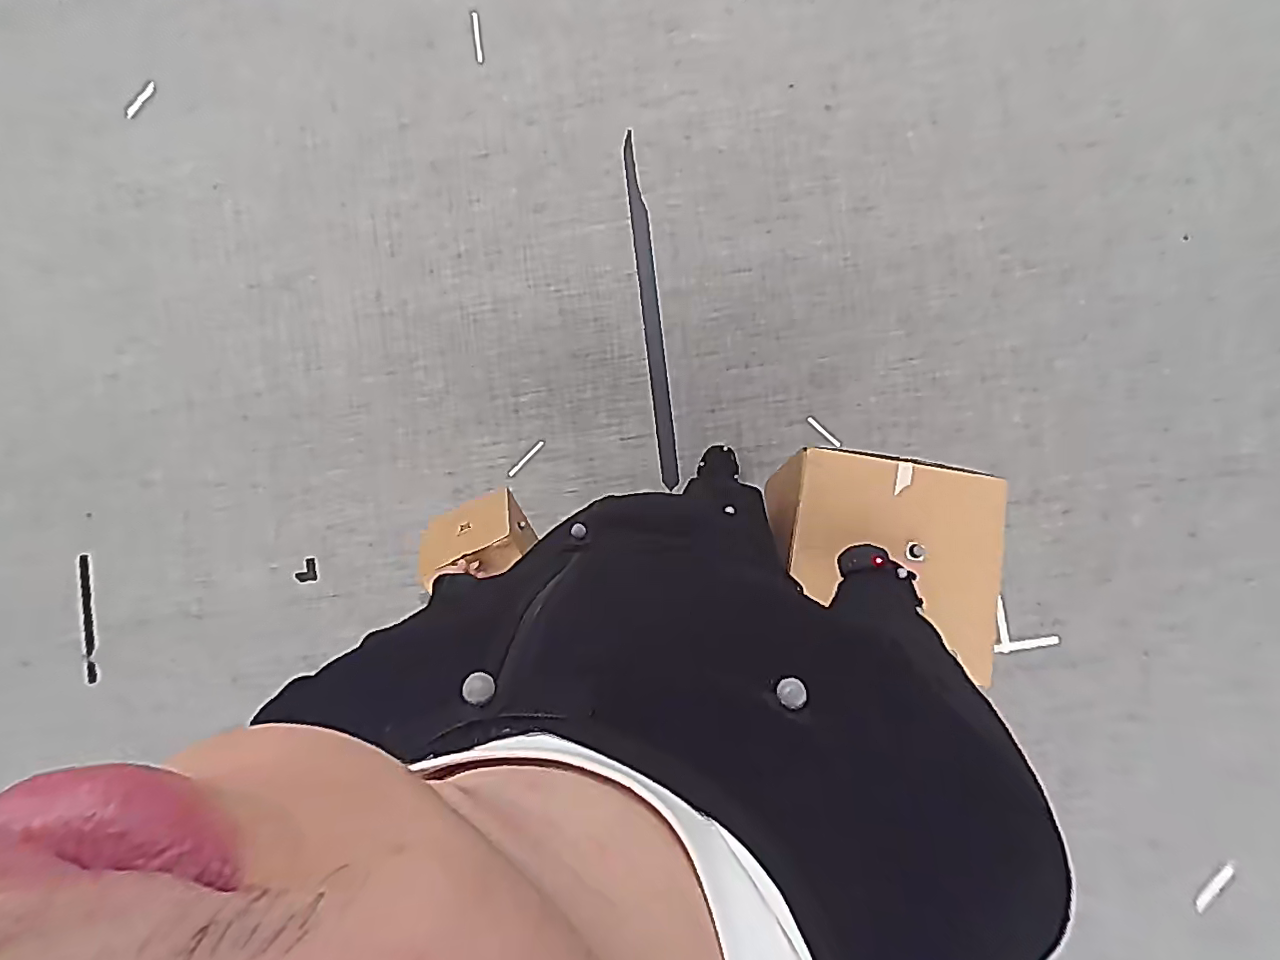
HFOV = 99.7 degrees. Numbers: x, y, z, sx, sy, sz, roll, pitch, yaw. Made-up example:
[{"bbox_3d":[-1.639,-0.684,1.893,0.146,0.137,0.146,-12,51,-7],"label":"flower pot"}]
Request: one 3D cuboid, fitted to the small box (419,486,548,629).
[{"bbox_3d":[-0.281,0.148,0.993,0.168,0.179,0.176,-24,123,-3],"label":"small box"}]
